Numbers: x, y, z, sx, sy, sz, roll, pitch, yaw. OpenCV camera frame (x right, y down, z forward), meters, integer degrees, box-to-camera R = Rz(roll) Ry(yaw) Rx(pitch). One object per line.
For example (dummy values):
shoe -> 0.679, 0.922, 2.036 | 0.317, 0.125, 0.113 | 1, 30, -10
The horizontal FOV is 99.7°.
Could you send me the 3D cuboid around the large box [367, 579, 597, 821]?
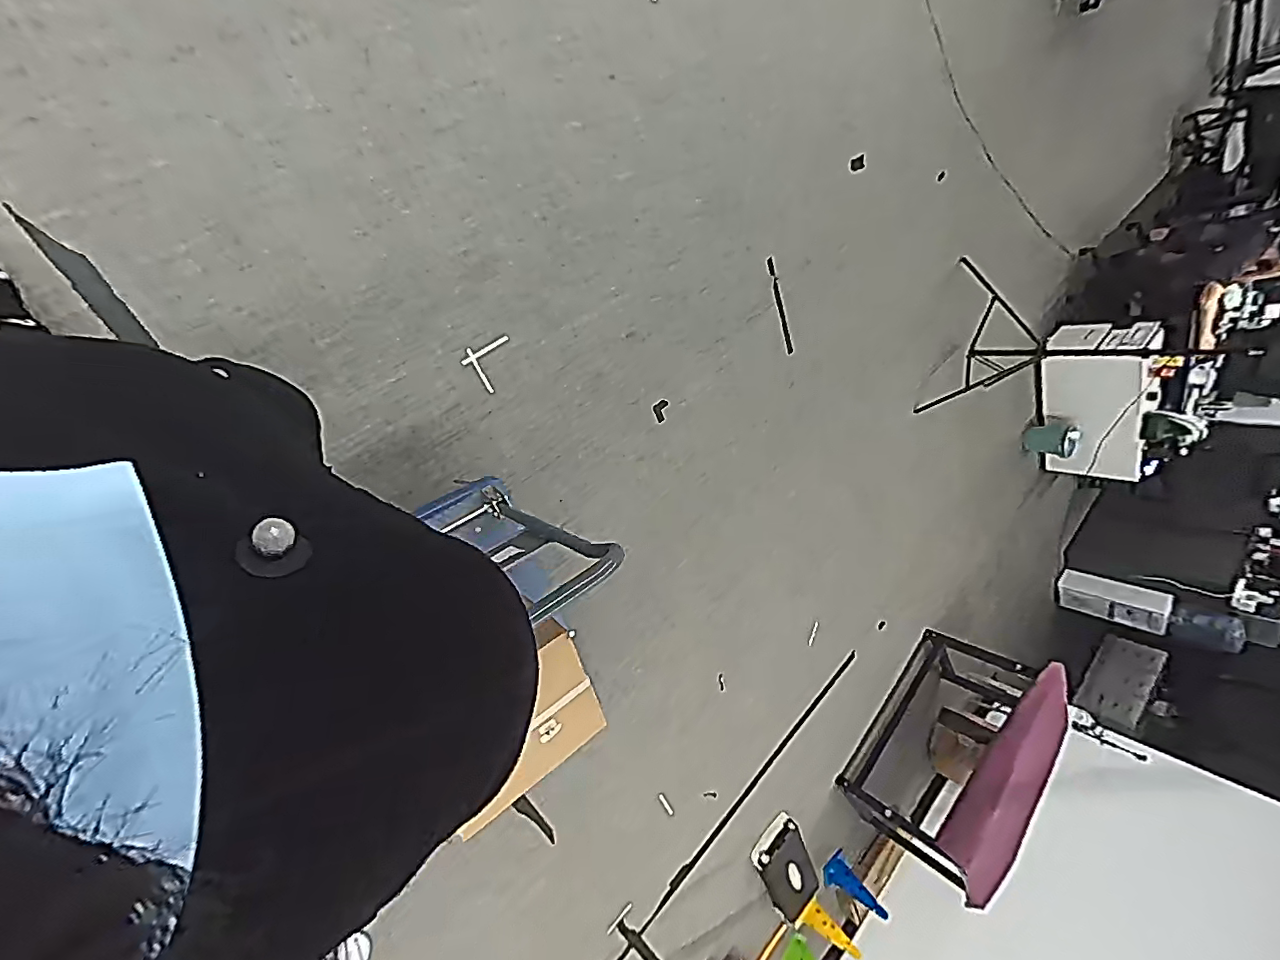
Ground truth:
large box -> -0.388, 0.514, 1.350 | 0.408, 0.320, 0.320 | -31, 117, -29
